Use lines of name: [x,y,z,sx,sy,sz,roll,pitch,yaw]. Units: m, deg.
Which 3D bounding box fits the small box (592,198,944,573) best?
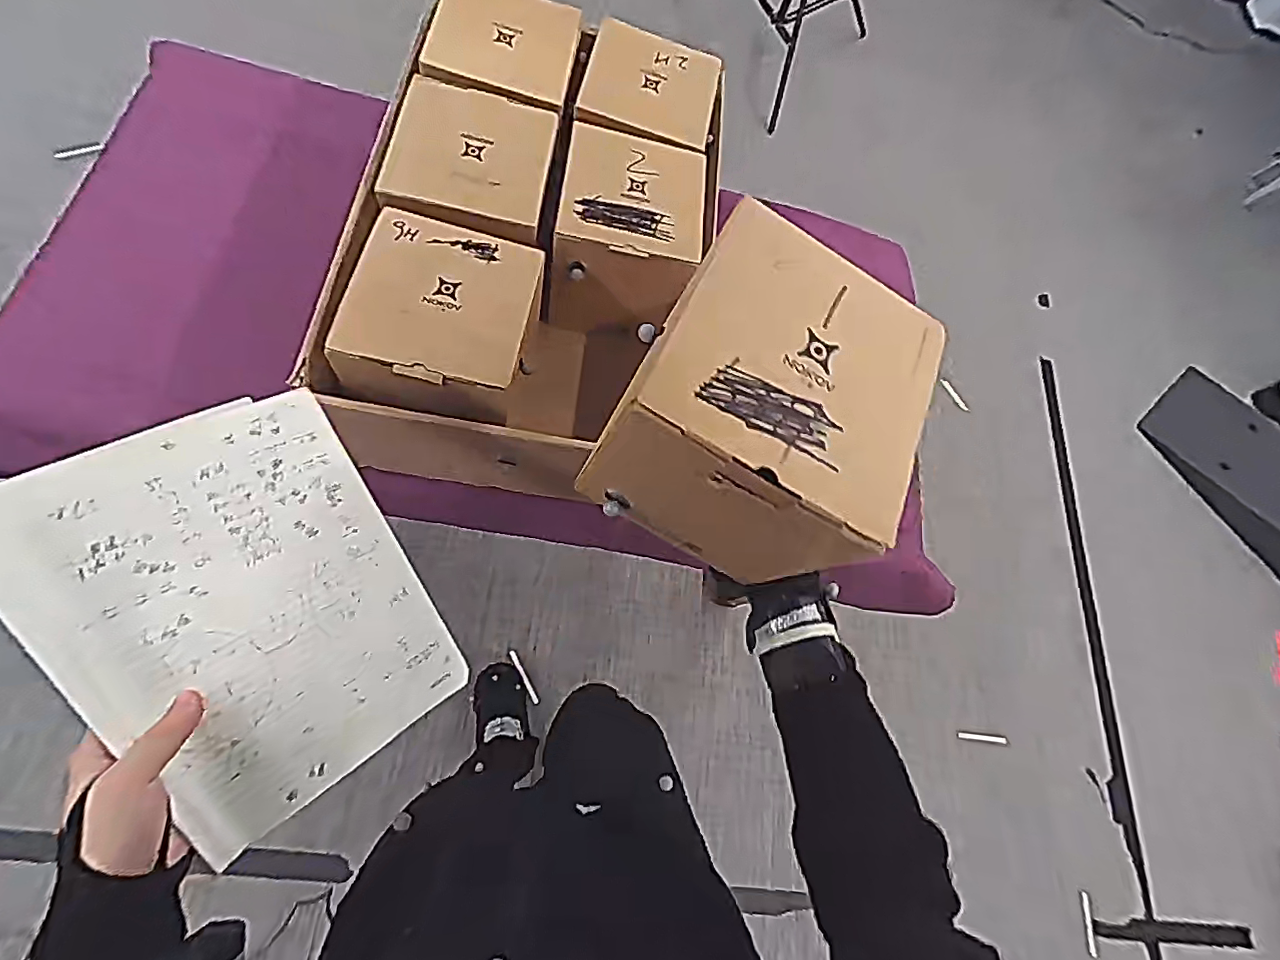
small box: [0.077,-0.049,0.396,0.168,0.176,0.179,29,66,-6]
